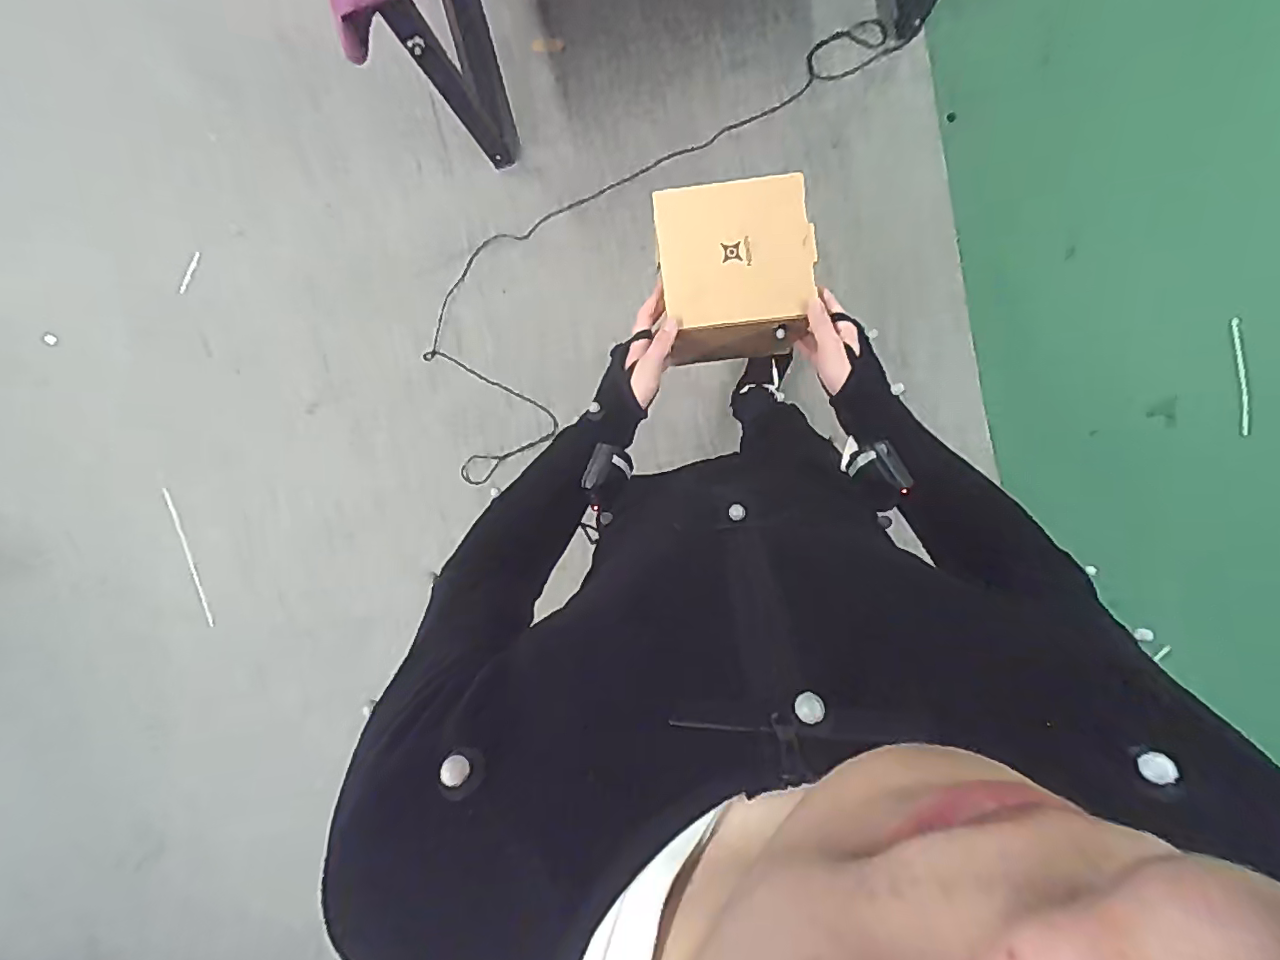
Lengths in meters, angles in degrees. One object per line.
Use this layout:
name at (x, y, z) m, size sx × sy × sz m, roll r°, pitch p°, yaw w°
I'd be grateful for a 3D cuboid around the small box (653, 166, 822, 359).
small box at (0.112, -0.260, 0.686) m, size 0.179 × 0.176 × 0.168 m, roll -7°, pitch 87°, yaw 1°
